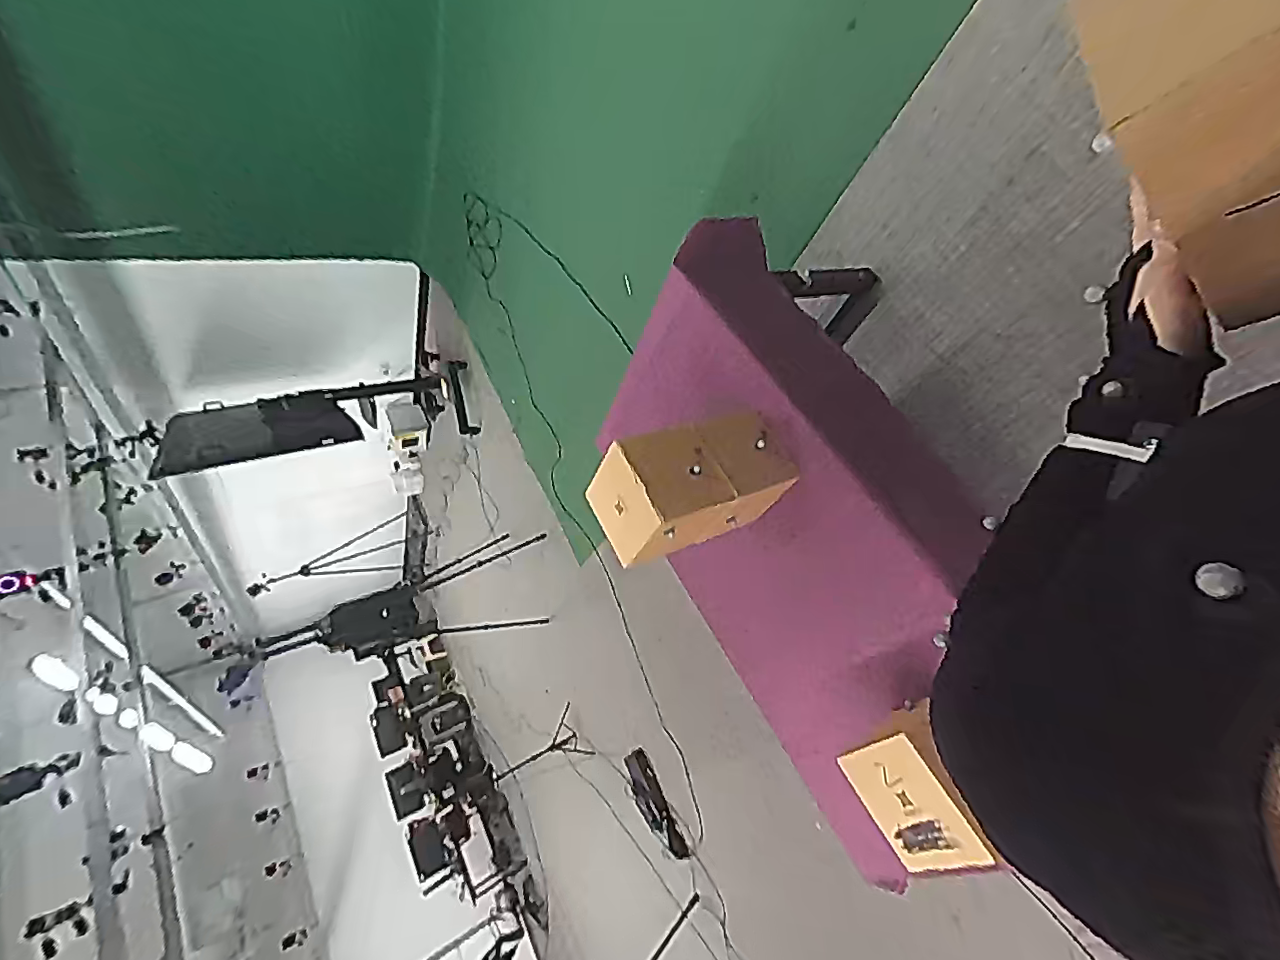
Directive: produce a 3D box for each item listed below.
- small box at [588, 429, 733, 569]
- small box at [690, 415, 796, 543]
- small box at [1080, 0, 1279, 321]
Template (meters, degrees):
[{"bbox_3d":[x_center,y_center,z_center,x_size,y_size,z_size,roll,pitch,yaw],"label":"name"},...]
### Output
[{"bbox_3d":[0.034,0.031,0.967,0.168,0.176,0.179,60,143,21],"label":"small box"},{"bbox_3d":[0.167,-0.004,1.055,0.168,0.176,0.179,59,144,20],"label":"small box"},{"bbox_3d":[0.361,-0.224,0.266,0.179,0.168,0.176,-24,41,50],"label":"small box"}]
